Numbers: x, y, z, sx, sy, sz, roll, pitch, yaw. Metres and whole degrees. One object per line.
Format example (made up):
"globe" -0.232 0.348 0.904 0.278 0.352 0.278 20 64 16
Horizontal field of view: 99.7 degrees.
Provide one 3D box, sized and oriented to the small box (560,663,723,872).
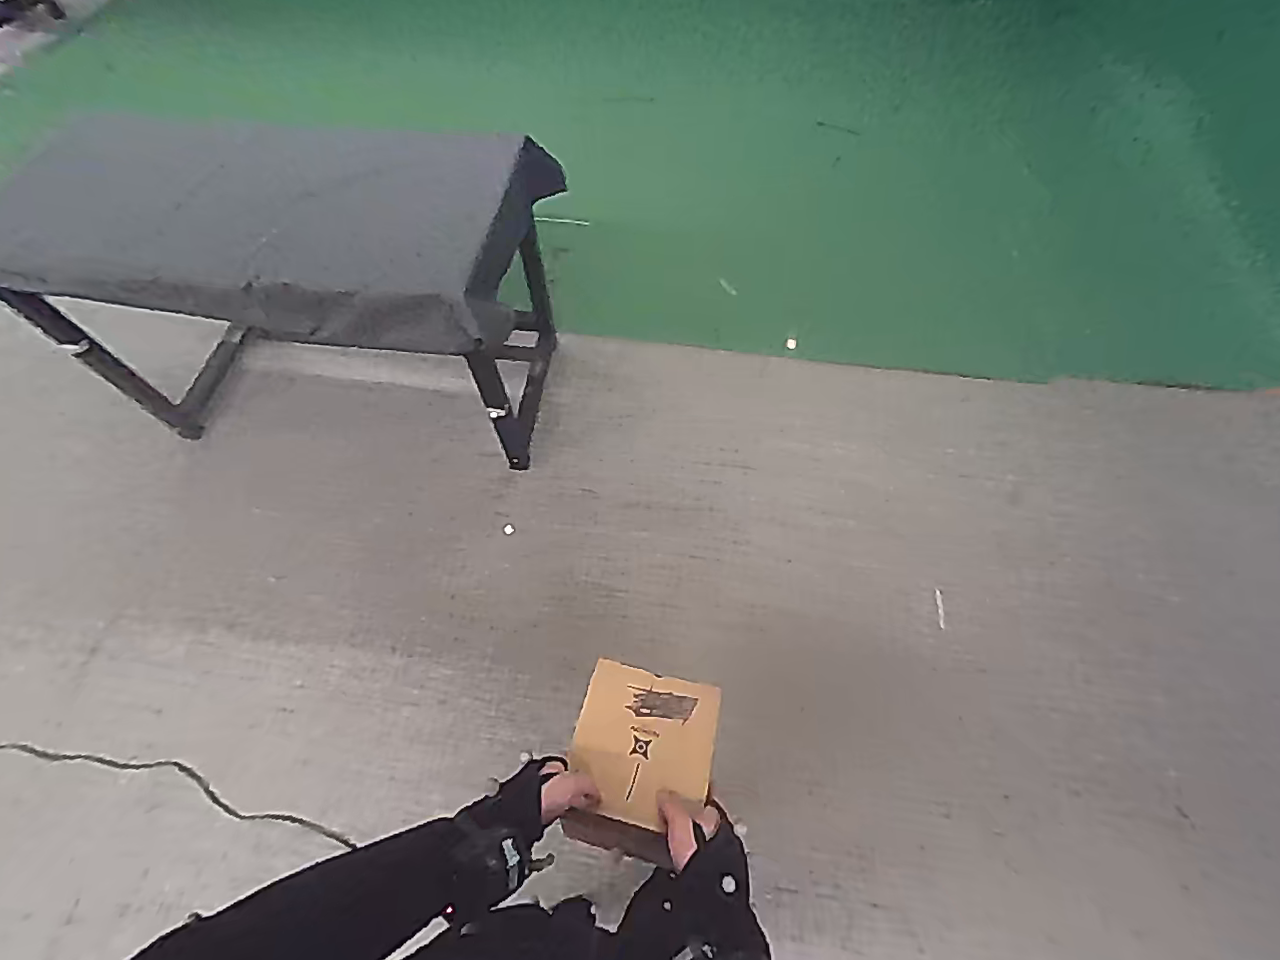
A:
"small box" 0.006 0.370 0.698 0.168 0.176 0.179 9 46 9
